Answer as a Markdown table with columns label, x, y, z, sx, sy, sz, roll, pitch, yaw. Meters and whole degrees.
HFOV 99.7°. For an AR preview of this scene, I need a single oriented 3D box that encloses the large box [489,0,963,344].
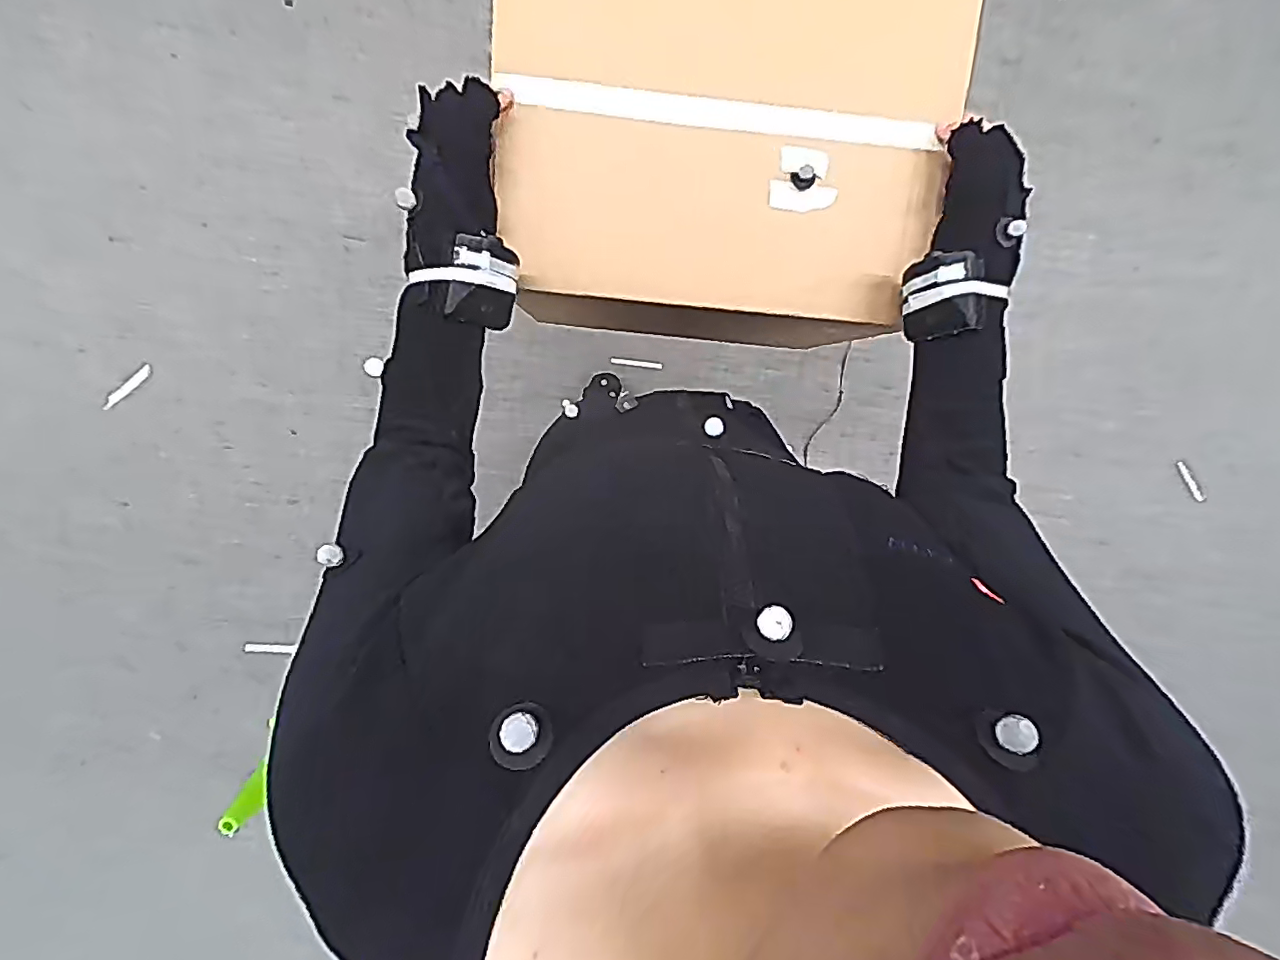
| label | x | y | z | sx | sy | sz | roll | pitch | yaw |
| --- | --- | --- | --- | --- | --- | --- | --- | --- | --- |
| large box | 0.062 | -0.338 | 0.614 | 0.408 | 0.320 | 0.320 | 4 | 100 | -4 |
